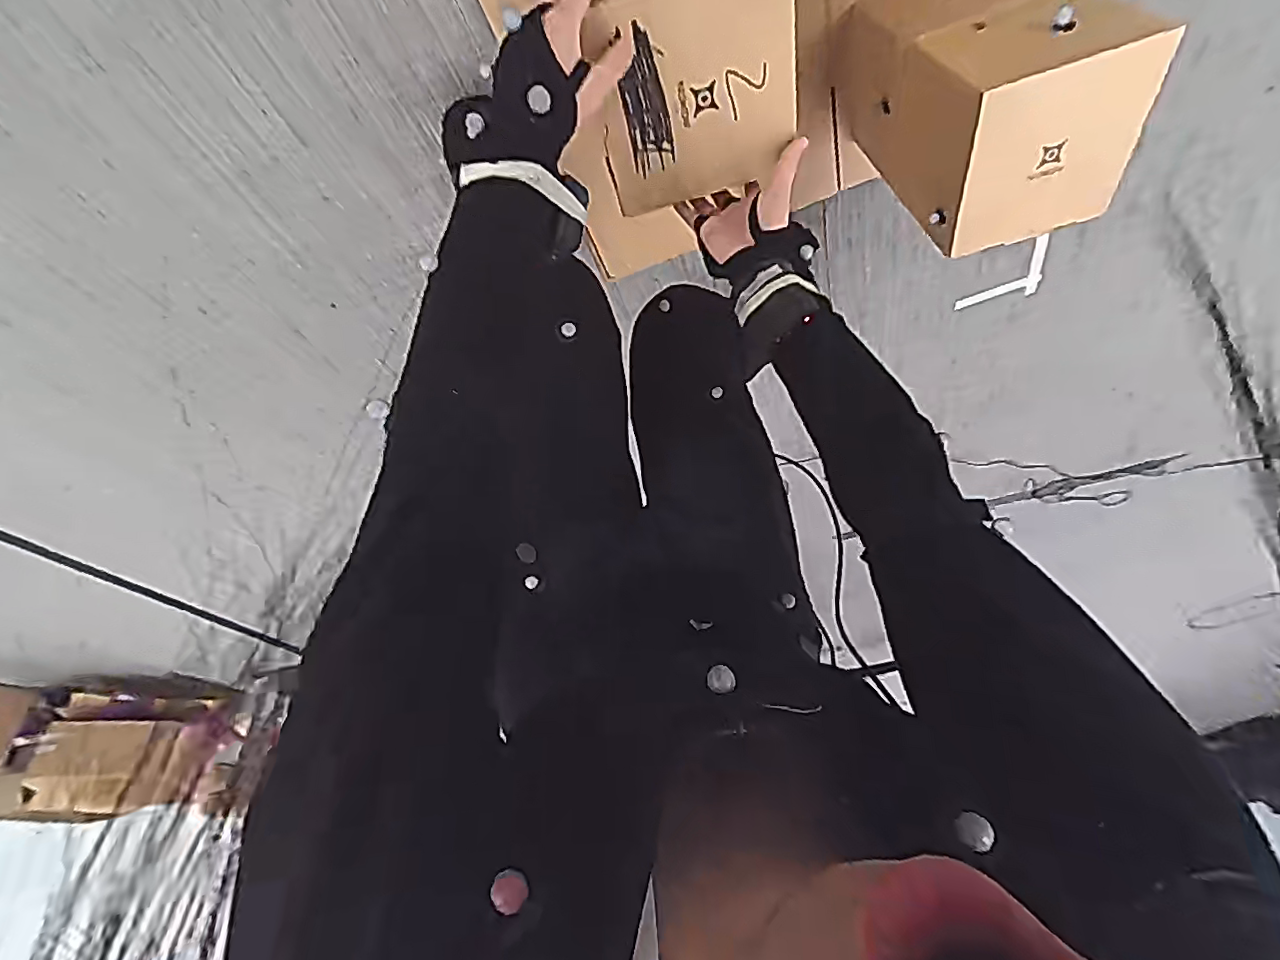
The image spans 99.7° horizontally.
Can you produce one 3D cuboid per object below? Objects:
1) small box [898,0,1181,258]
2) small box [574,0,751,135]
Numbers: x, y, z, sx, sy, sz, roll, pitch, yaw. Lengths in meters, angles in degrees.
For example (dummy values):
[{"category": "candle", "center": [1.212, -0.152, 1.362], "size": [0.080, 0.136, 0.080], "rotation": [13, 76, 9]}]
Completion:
[{"category": "small box", "center": [0.398, -0.384, 0.585], "size": [0.168, 0.176, 0.179], "rotation": [-14, 143, 9]}, {"category": "small box", "center": [0.023, -0.526, 0.607], "size": [0.179, 0.176, 0.168], "rotation": [-9, 143, 6]}]
